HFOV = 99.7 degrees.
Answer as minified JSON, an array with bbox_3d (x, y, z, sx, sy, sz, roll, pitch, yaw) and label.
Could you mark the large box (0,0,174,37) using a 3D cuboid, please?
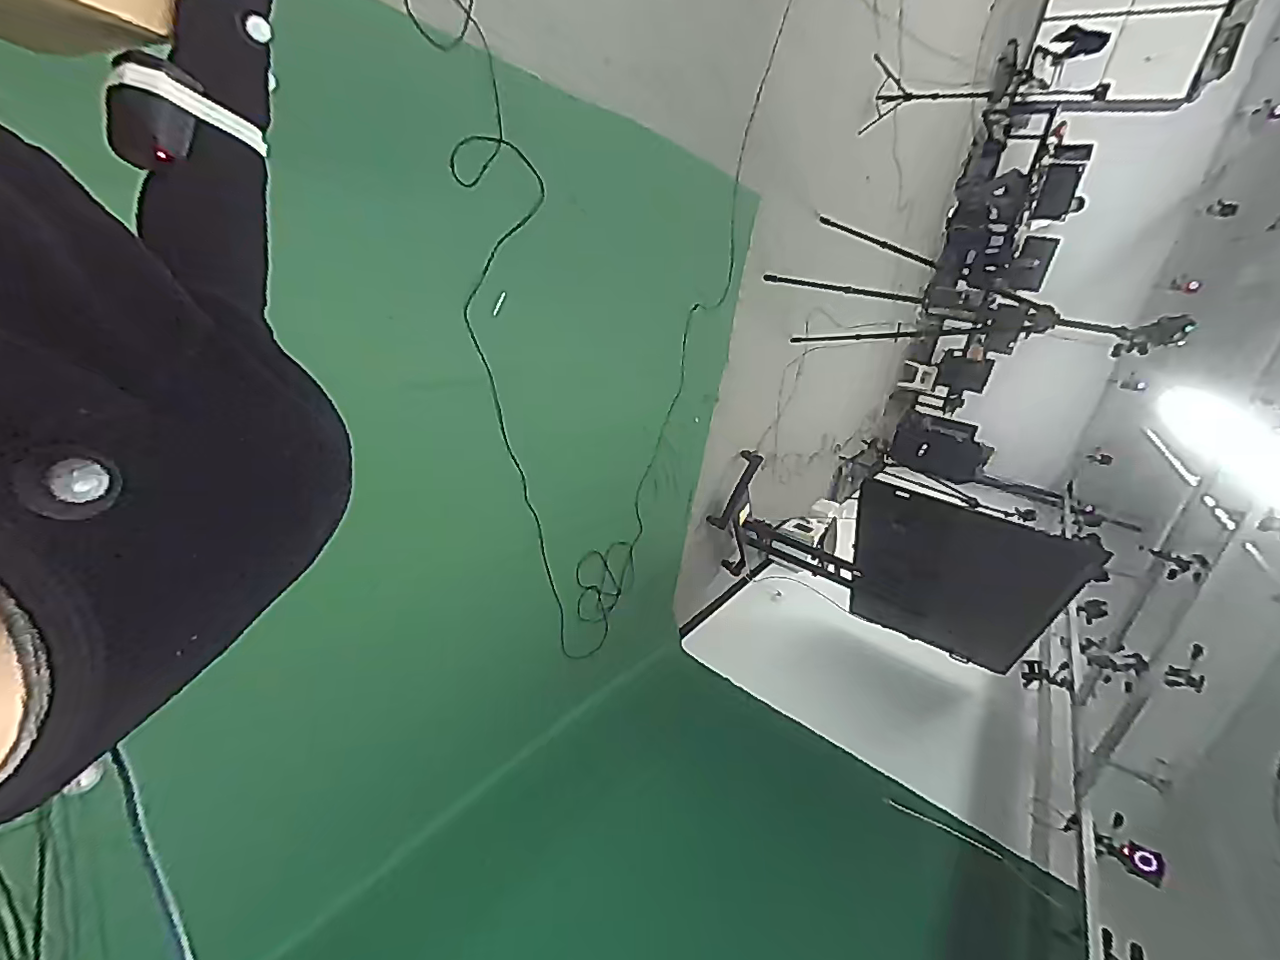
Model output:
[{"bbox_3d":[-0.542,-0.491,0.262,0.408,0.320,0.320,-15,123,-55],"label":"large box"}]
